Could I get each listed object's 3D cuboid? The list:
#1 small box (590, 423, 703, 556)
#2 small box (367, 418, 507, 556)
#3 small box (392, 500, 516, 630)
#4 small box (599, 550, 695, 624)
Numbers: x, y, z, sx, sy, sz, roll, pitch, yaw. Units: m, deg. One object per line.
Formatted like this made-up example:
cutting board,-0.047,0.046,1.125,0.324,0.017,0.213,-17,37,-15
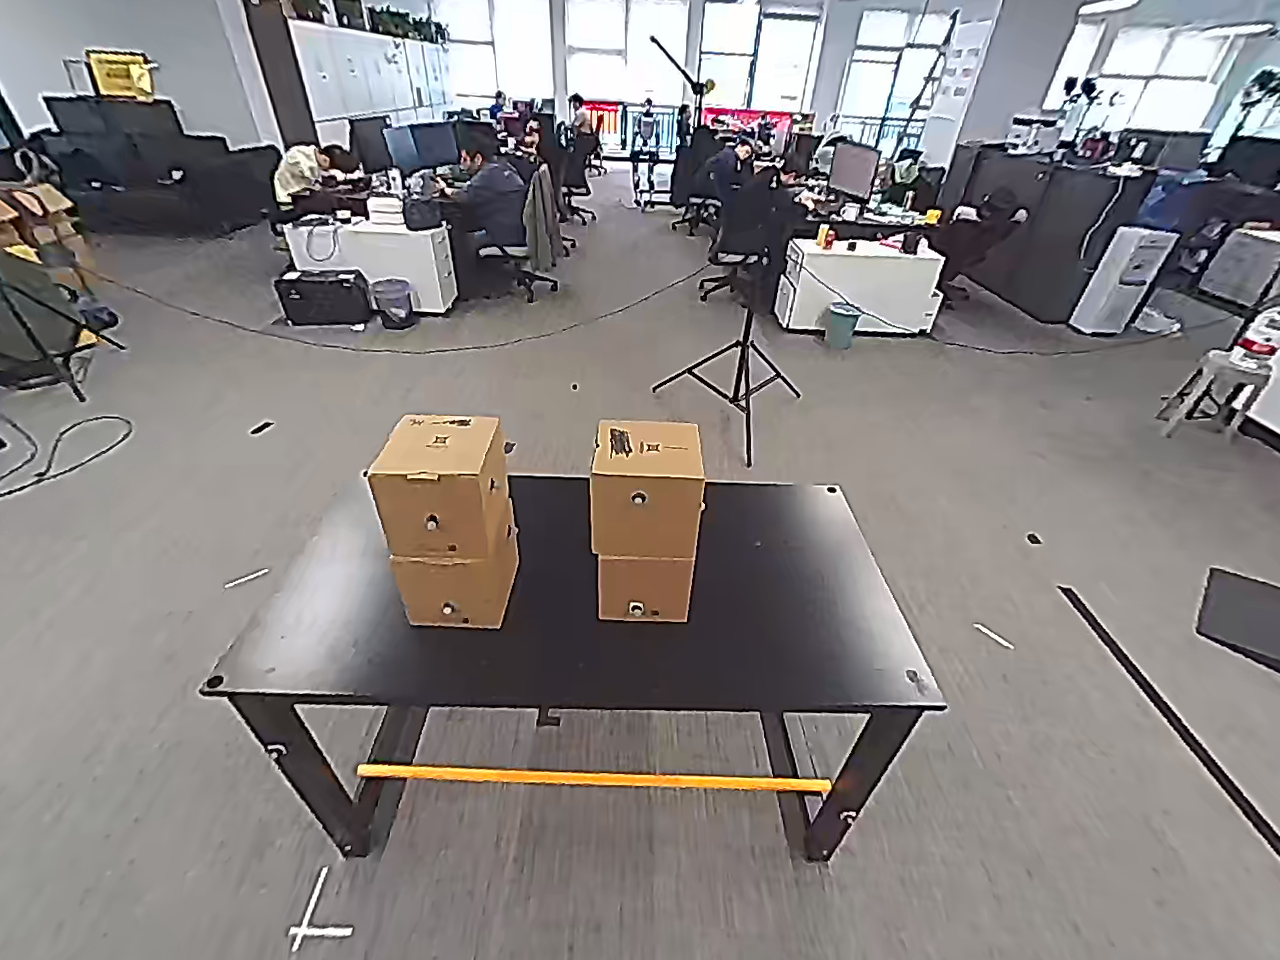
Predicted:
small box,0.010,0.016,0.929,0.179,0.176,0.168,2,36,0
small box,-0.323,0.012,0.906,0.168,0.176,0.179,1,37,-3
small box,-0.328,0.150,0.996,0.168,0.176,0.179,3,36,0
small box,0.008,0.149,1.026,0.168,0.176,0.179,0,37,-2
